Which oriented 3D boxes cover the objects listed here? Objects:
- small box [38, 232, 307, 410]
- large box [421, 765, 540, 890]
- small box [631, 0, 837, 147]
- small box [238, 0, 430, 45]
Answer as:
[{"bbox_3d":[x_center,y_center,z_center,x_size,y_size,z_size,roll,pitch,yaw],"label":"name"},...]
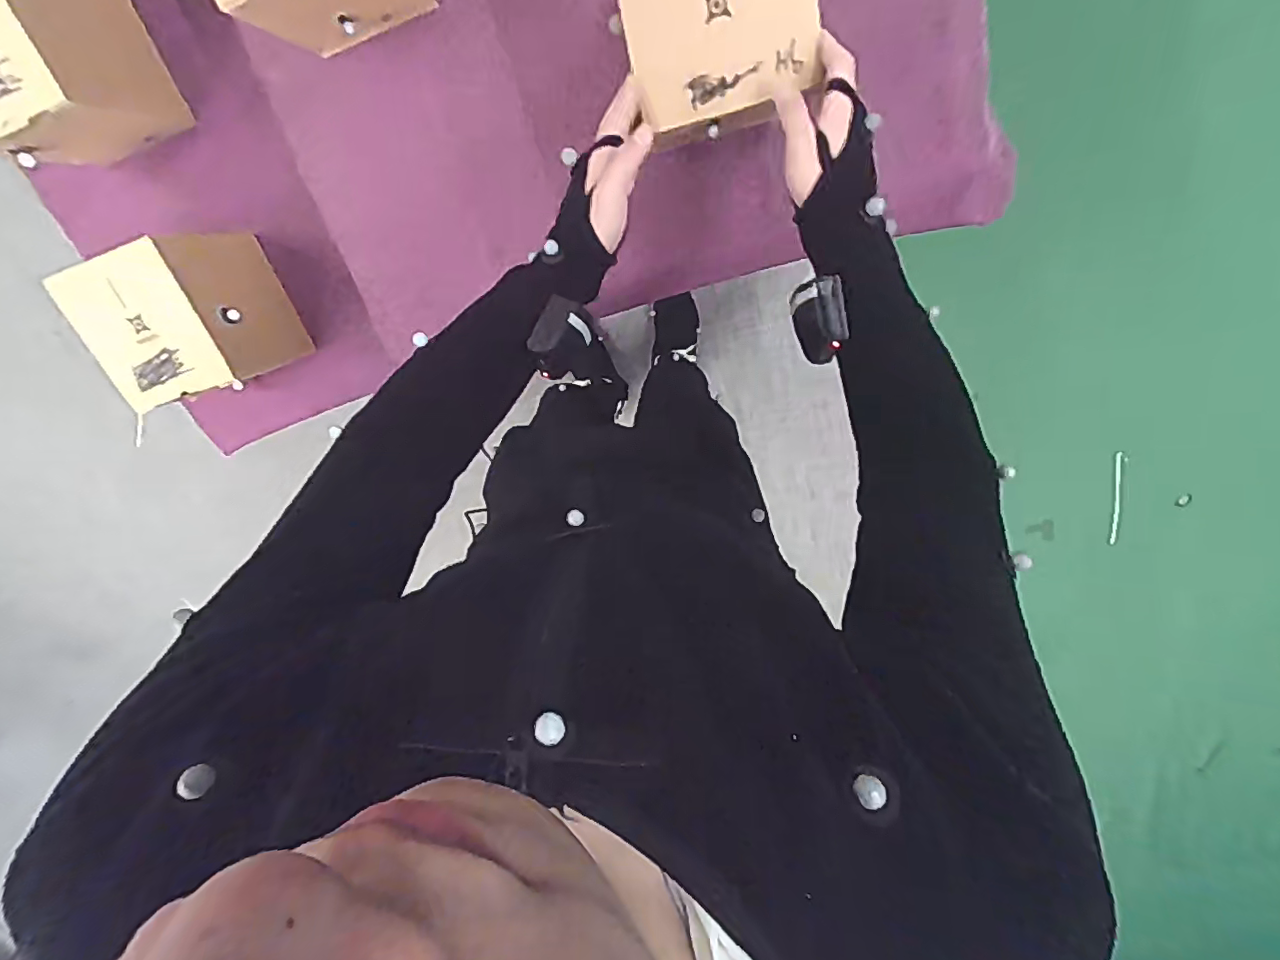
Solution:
[{"bbox_3d":[-0.596,-0.217,0.721,0.168,0.176,0.179,-14,113,10],"label":"small box"},{"bbox_3d":[-0.659,1.459,2.284,0.408,0.320,0.320,7,117,0],"label":"large box"},{"bbox_3d":[0.080,-0.446,0.524,0.168,0.176,0.179,-10,117,7],"label":"small box"},{"bbox_3d":[-0.336,-0.577,0.529,0.168,0.176,0.179,-14,115,10],"label":"small box"}]
